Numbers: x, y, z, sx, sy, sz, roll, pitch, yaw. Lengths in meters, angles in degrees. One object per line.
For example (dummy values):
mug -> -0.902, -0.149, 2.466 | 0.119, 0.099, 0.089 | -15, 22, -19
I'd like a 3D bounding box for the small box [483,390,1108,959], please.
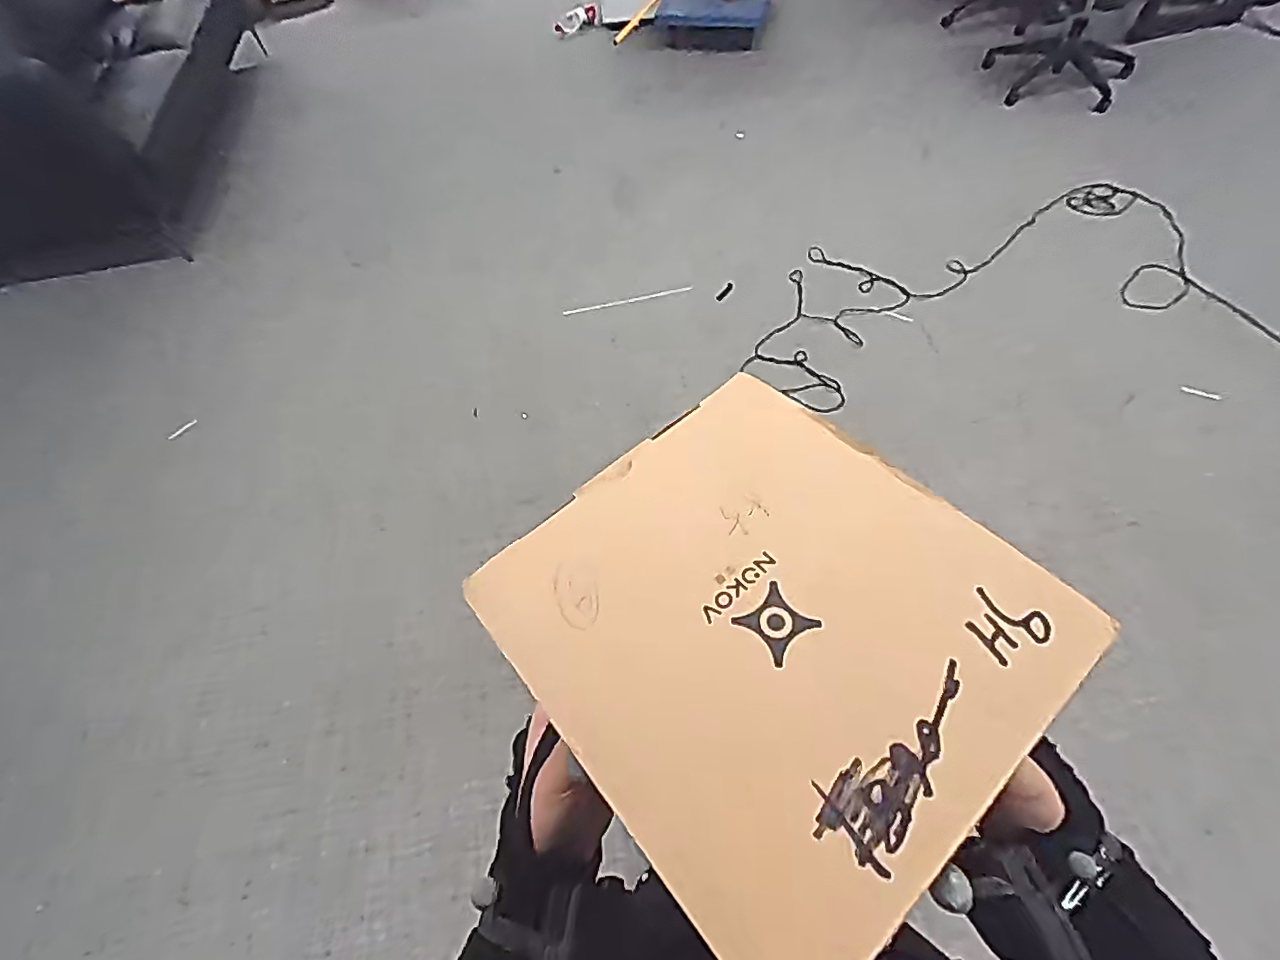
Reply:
small box -> 0.058, 0.095, 0.272 | 0.168, 0.176, 0.179 | -39, 59, -16
